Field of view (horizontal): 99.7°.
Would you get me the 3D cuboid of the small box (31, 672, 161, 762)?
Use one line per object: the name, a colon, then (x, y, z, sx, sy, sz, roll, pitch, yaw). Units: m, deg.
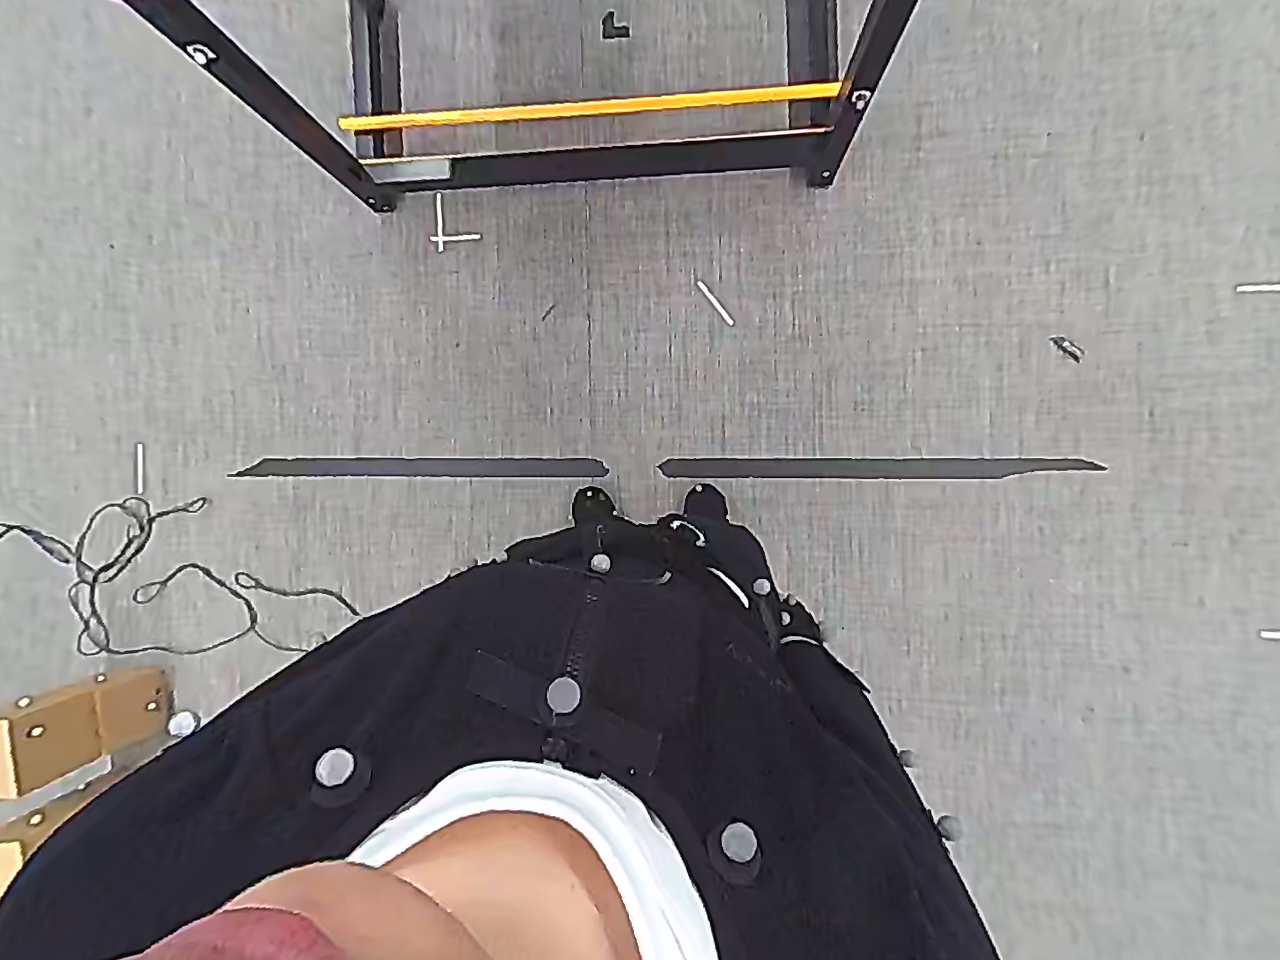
small box: (-1.404, 0.611, 1.403, 0.179, 0.176, 0.168, -5, 91, 4)

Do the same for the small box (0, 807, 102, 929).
small box: (-1.405, 0.882, 1.243, 0.168, 0.176, 0.179, -8, 90, 5)

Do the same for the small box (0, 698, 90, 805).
small box: (-1.428, 0.614, 1.239, 0.168, 0.176, 0.179, -7, 91, 5)
